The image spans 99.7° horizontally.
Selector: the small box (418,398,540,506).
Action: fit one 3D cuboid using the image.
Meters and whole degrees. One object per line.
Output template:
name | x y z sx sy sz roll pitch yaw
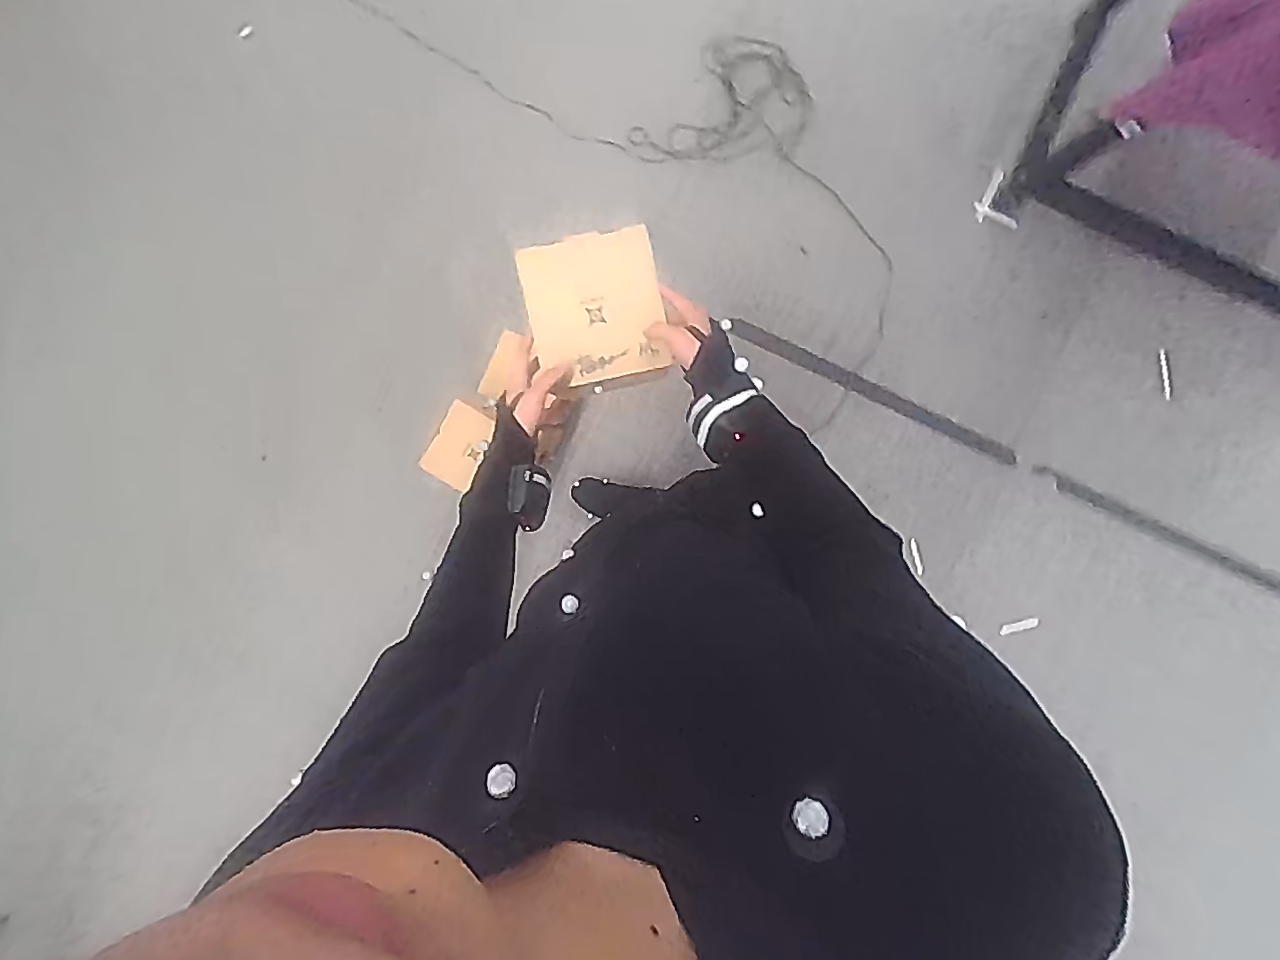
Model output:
small box | -0.346 -0.063 1.194 0.179 0.176 0.168 32 95 -3
